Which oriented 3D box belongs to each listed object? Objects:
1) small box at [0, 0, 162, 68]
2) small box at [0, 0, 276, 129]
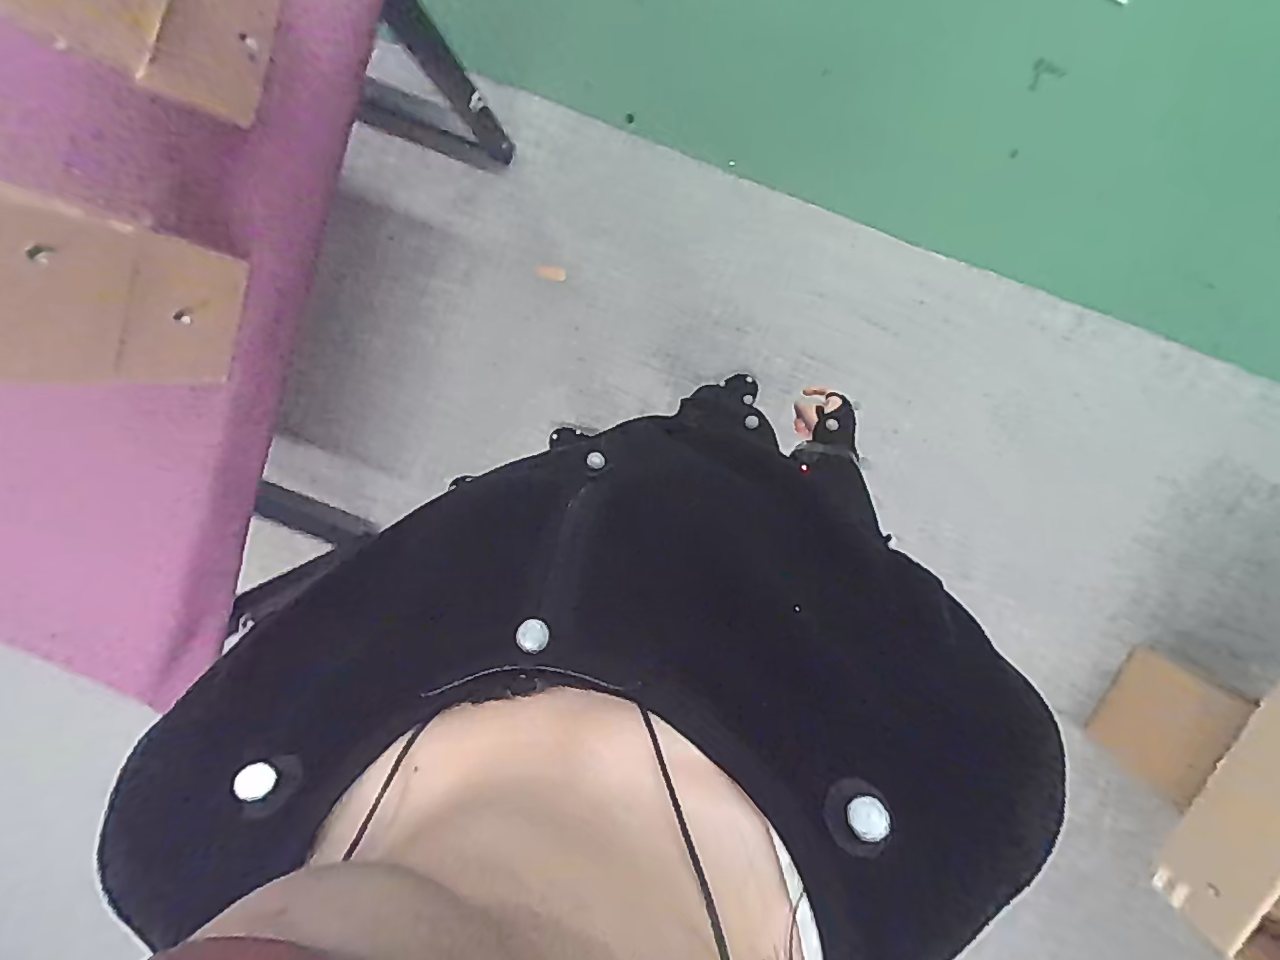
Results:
[{"bbox_3d":[-0.564,-0.511,0.465,0.179,0.176,0.168,29,100,-2],"label":"small box"},{"bbox_3d":[-0.565,-0.557,0.624,0.168,0.176,0.179,21,101,2],"label":"small box"}]
